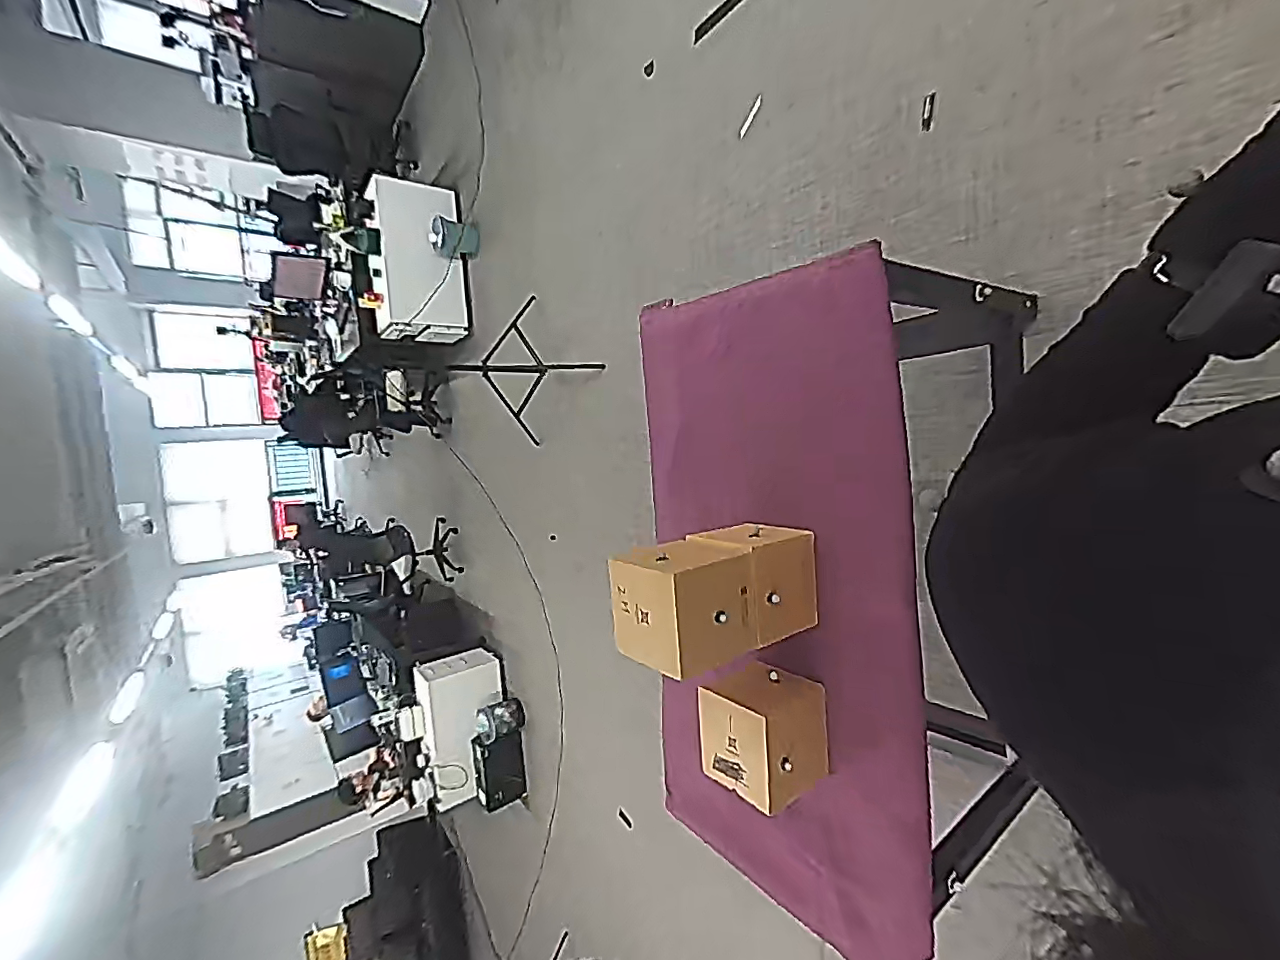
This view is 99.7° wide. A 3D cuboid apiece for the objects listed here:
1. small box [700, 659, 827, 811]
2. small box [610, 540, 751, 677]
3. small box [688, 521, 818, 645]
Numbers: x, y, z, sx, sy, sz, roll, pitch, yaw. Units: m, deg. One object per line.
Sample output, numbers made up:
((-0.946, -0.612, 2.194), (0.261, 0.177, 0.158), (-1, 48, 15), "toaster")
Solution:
((0.232, 0.461, 1.008), (0.168, 0.176, 0.179), (2, 97, 54), "small box")
((0.072, 0.200, 0.904), (0.179, 0.176, 0.168), (3, 99, 54), "small box")
((0.209, 0.176, 0.994), (0.168, 0.176, 0.179), (3, 99, 54), "small box")
